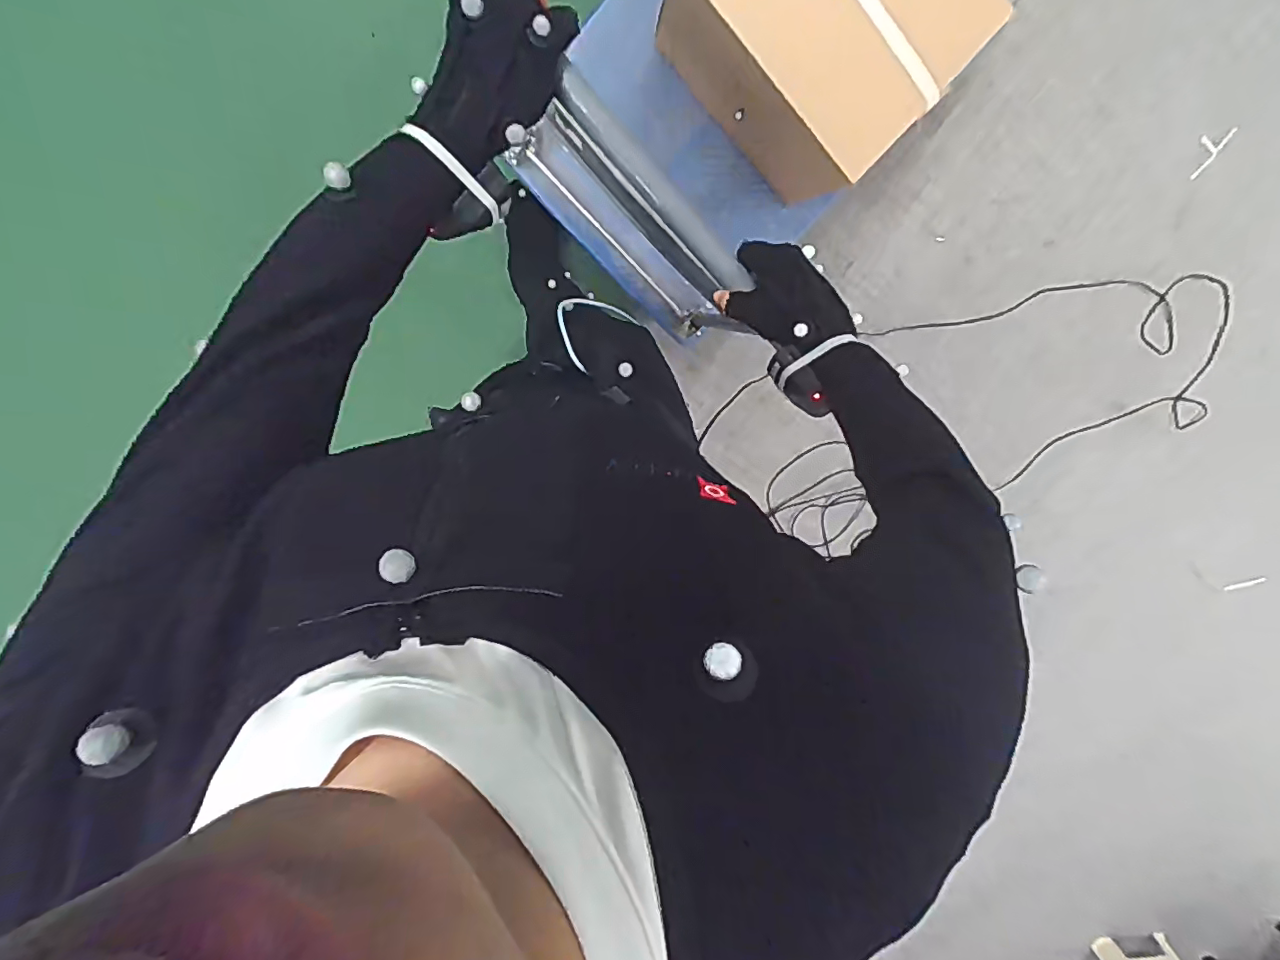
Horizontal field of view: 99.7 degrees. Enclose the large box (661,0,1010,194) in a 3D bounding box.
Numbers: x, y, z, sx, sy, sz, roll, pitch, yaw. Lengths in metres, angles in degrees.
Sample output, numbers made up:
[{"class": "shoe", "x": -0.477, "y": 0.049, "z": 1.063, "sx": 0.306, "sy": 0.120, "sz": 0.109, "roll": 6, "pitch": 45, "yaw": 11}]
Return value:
[{"class": "large box", "x": 0.289, "y": -0.765, "z": 0.905, "sx": 0.408, "sy": 0.320, "sz": 0.320, "roll": 41, "pitch": 103, "yaw": -17}]
